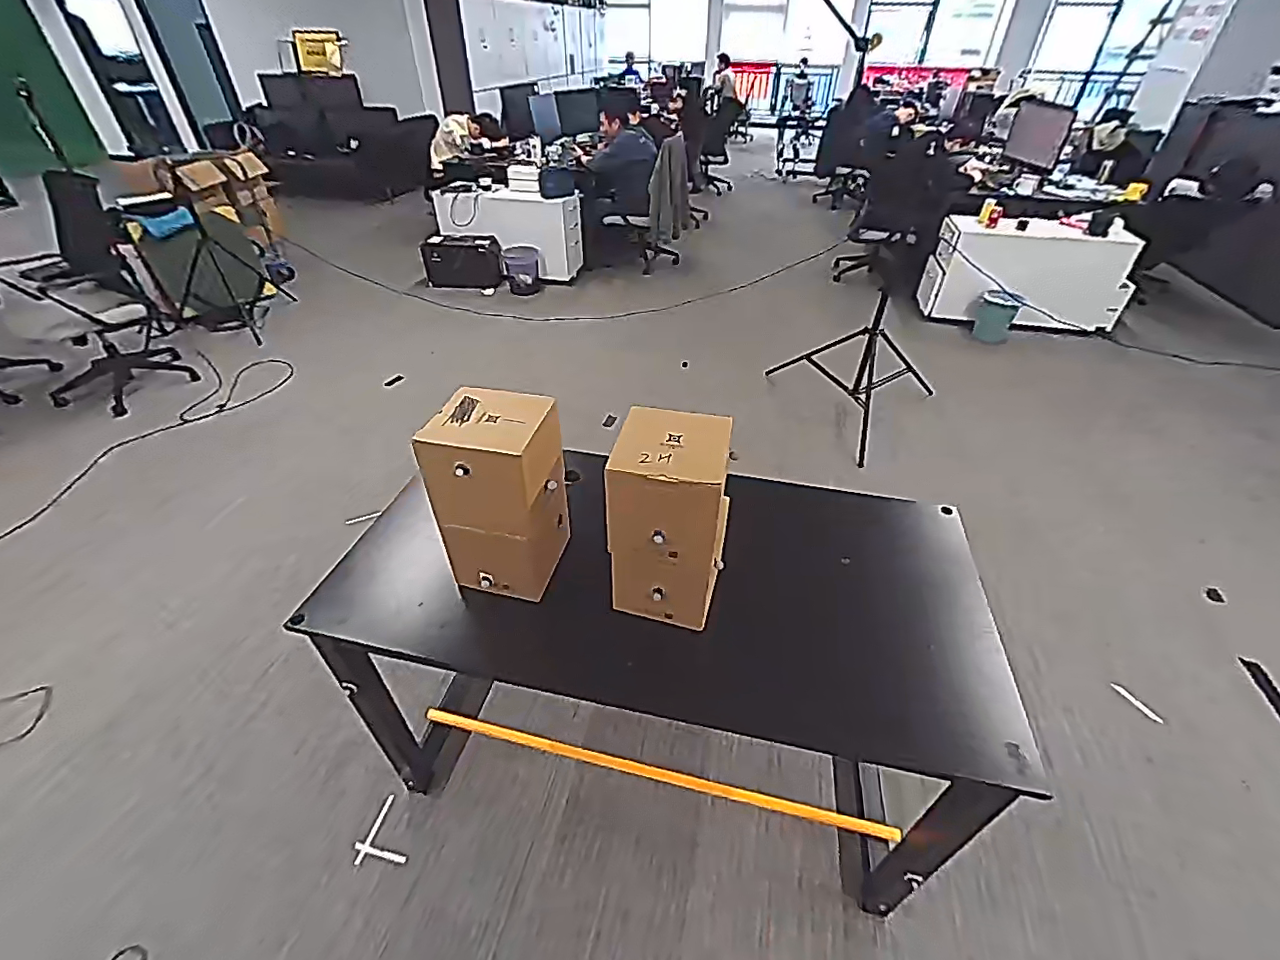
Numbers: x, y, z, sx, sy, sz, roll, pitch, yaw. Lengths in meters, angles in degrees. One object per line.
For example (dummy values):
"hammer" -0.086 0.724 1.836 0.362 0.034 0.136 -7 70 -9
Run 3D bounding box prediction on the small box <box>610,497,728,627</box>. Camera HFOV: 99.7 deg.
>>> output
"small box" 0.055 0.134 0.964 0.168 0.176 0.179 11 41 13

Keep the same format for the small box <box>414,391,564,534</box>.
"small box" -0.238 -0.029 0.900 0.179 0.176 0.168 8 39 9

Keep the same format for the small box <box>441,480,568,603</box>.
"small box" -0.238 0.098 1.005 0.168 0.176 0.179 8 40 10

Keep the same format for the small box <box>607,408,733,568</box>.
"small box" 0.048 0.010 0.854 0.168 0.176 0.179 8 40 10
